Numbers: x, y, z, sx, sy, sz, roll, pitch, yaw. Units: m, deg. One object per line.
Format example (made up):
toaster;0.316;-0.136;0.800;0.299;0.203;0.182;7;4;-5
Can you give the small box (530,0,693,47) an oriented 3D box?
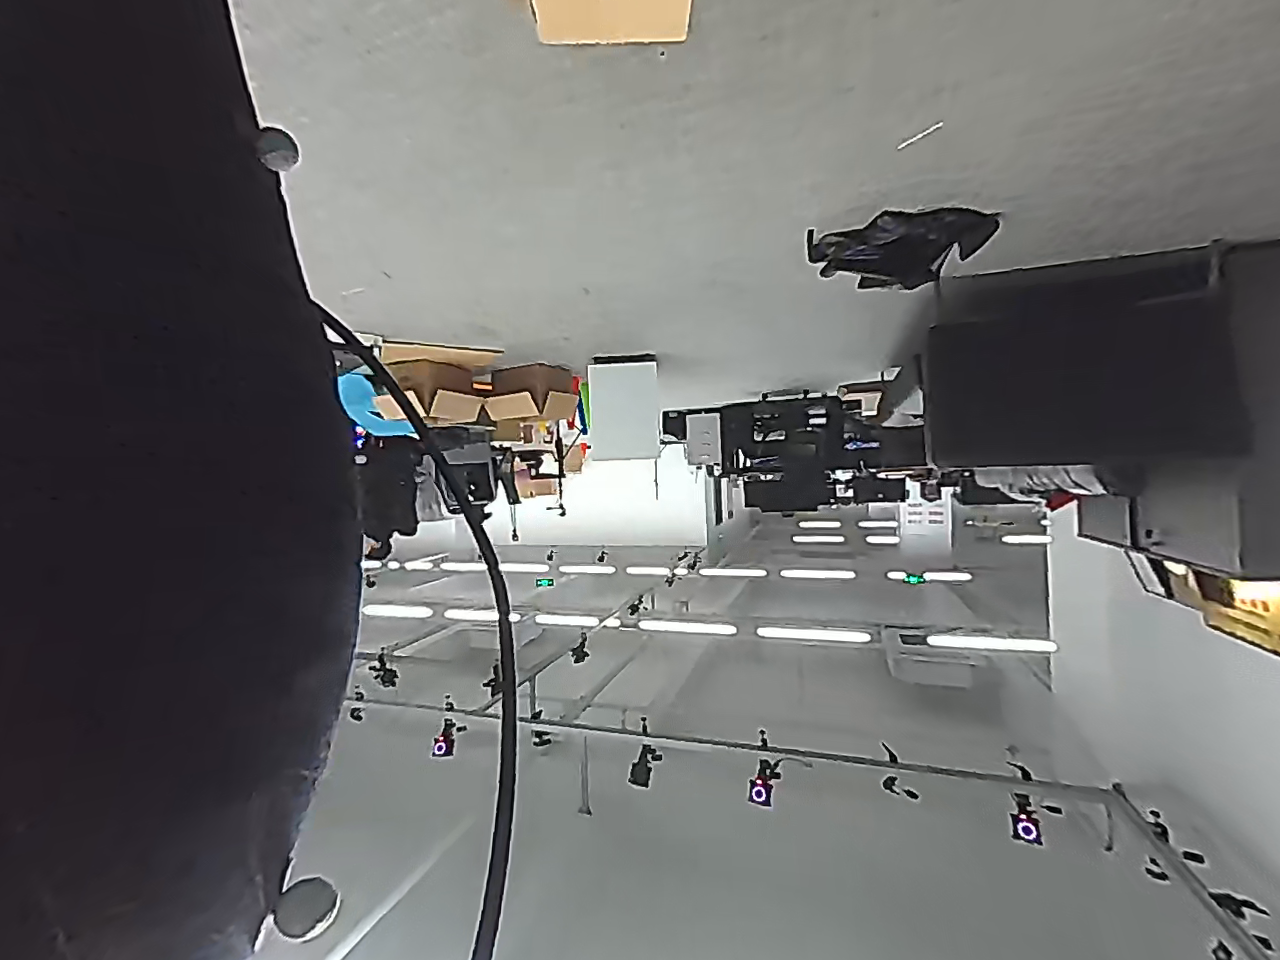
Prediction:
small box;-0.033;-0.588;0.548;0.179;0.176;0.168;-2;-178;-1
